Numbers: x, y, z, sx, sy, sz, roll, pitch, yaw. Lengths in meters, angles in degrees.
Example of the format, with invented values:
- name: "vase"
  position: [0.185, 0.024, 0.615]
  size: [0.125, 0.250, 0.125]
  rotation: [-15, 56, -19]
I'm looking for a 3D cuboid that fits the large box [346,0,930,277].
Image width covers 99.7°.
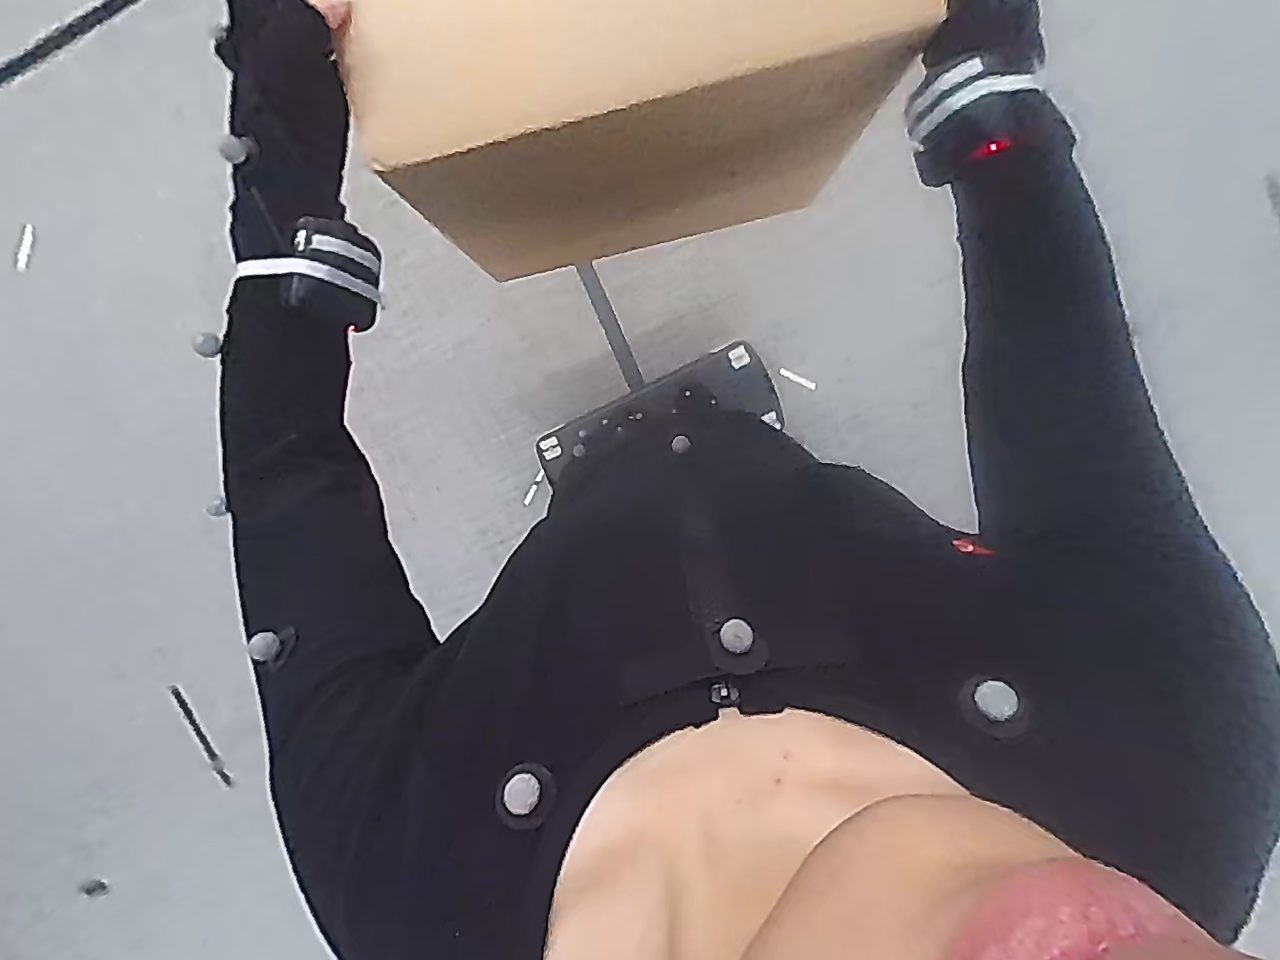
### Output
- name: "large box"
  position: [-0.023, -0.432, 0.517]
  size: [0.408, 0.320, 0.320]
  rotation: [-13, 96, 2]

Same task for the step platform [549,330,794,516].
- name: "step platform"
  position: [0.085, -0.160, 1.558]
  size: [0.684, 0.204, 0.286]
  rotation: [-26, 97, 4]
